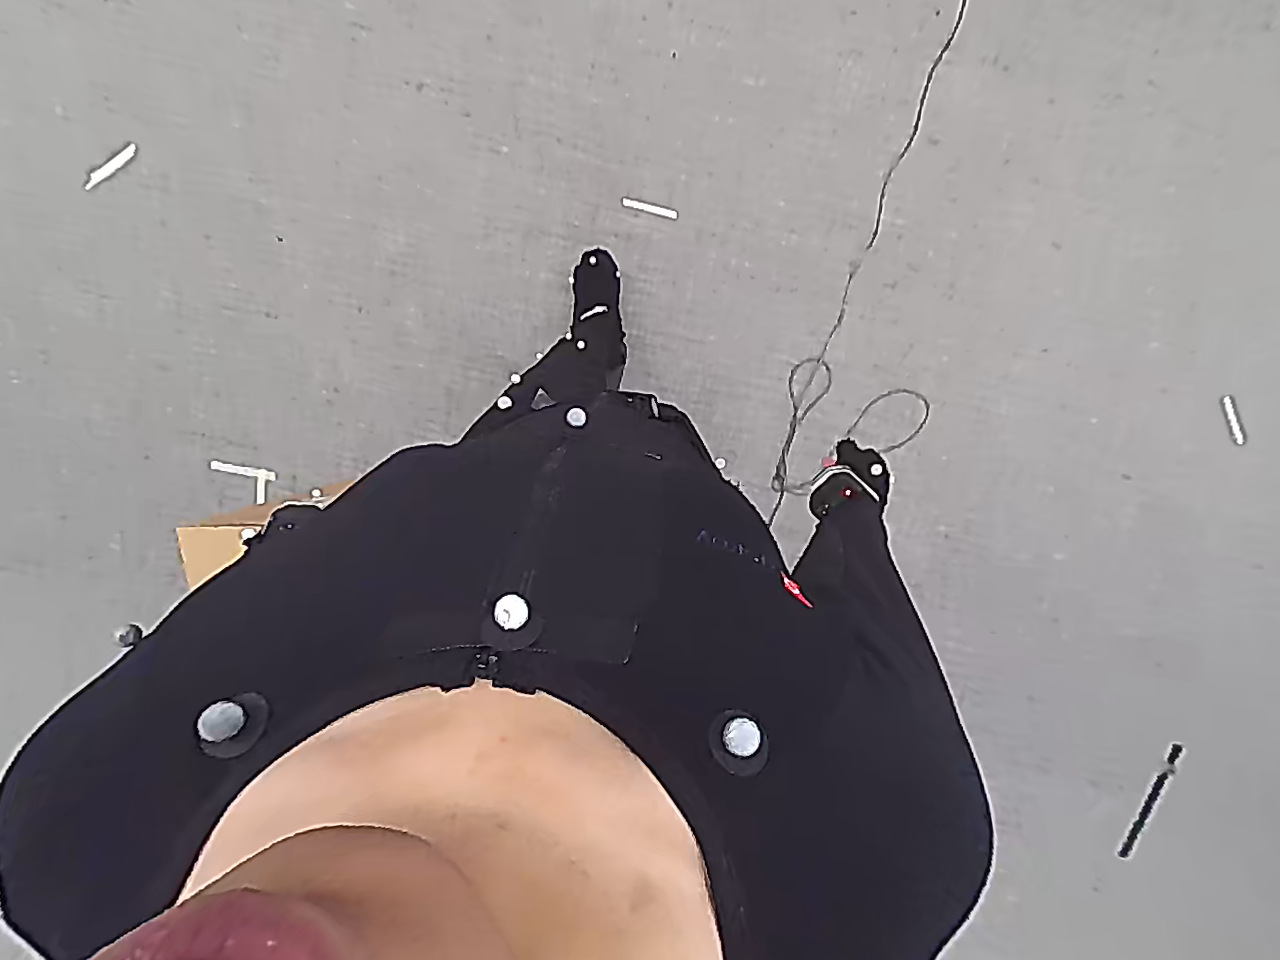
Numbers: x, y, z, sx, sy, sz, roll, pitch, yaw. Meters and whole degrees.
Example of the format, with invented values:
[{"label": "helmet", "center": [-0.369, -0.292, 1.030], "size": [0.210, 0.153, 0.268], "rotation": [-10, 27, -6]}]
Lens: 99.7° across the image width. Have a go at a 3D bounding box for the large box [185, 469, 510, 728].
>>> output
[{"label": "large box", "center": [-0.452, 0.170, 0.947], "size": [0.320, 0.408, 0.320], "rotation": [-3, 101, 8]}]
